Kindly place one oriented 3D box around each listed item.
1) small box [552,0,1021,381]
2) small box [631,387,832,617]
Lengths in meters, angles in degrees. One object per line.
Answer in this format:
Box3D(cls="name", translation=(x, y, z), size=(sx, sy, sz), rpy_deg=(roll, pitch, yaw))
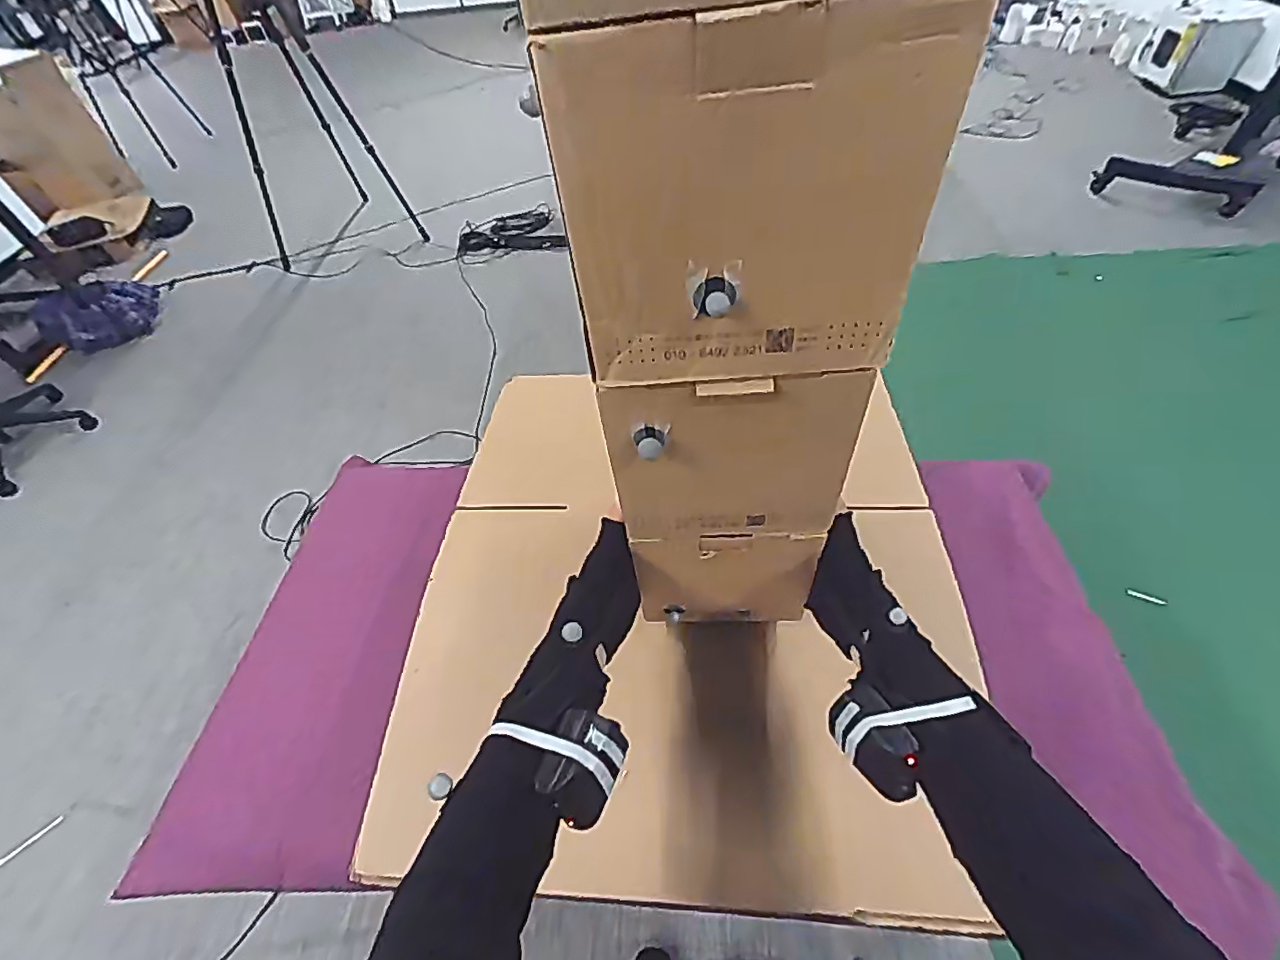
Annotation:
Box3D(cls="small box", translation=(0.055, -0.177, 0.301), size=(0.168, 0.176, 0.179), rpy_deg=(-4, 51, 3))
Box3D(cls="small box", translation=(0.082, 0.031, 0.552), size=(0.168, 0.176, 0.179), rpy_deg=(-5, 53, 4))
